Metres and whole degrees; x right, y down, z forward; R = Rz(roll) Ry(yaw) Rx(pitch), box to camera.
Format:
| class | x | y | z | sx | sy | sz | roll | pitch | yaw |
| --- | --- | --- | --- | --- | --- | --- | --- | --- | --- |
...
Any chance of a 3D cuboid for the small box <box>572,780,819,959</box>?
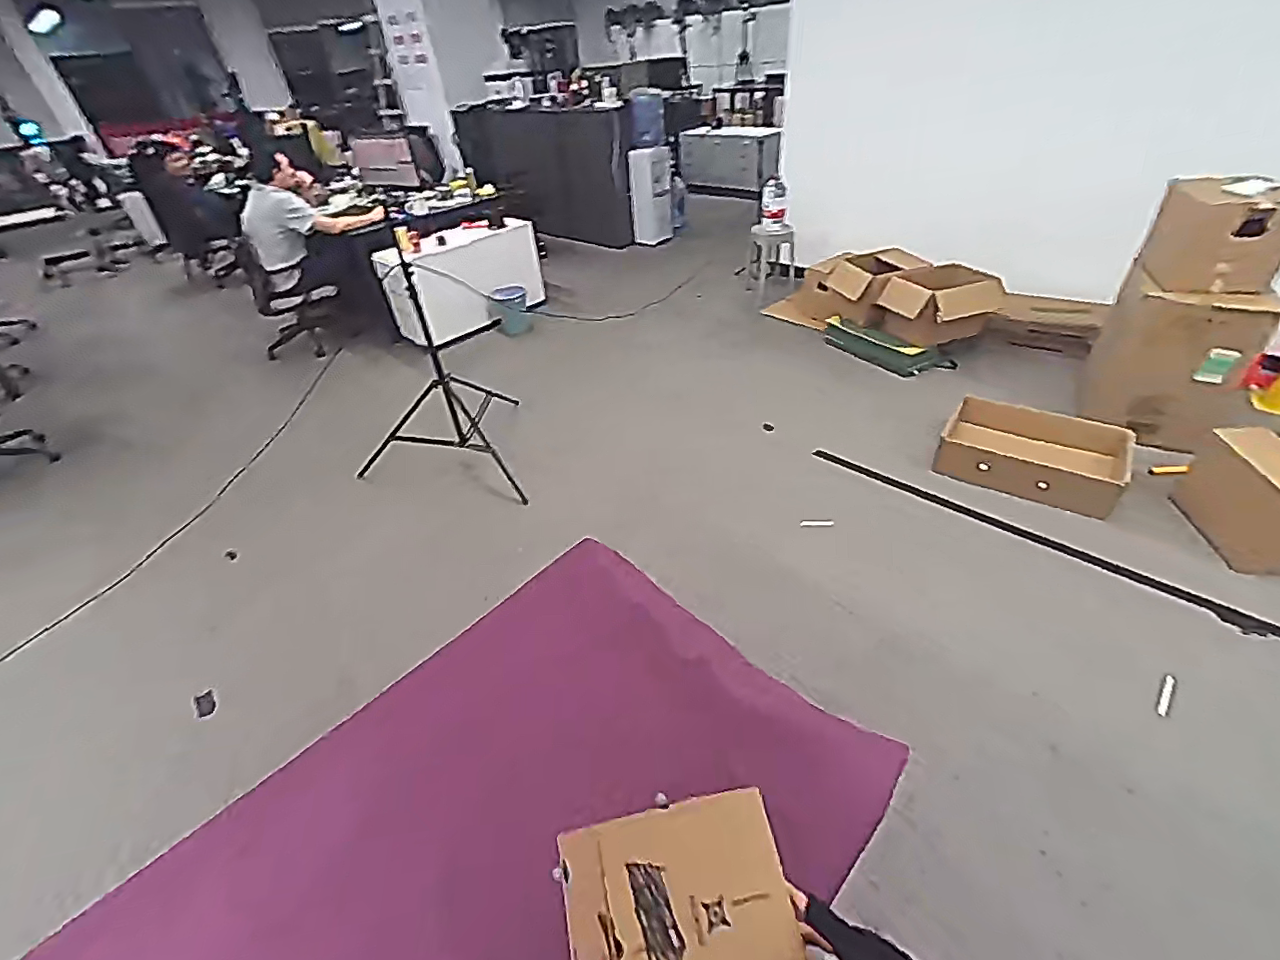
| class | x | y | z | sx | sy | sz | roll | pitch | yaw |
| --- | --- | --- | --- | --- | --- | --- | --- | --- | --- |
| small box | 0.037 | 0.411 | 0.529 | 0.179 | 0.176 | 0.168 | 0 | 57 | -23 |
